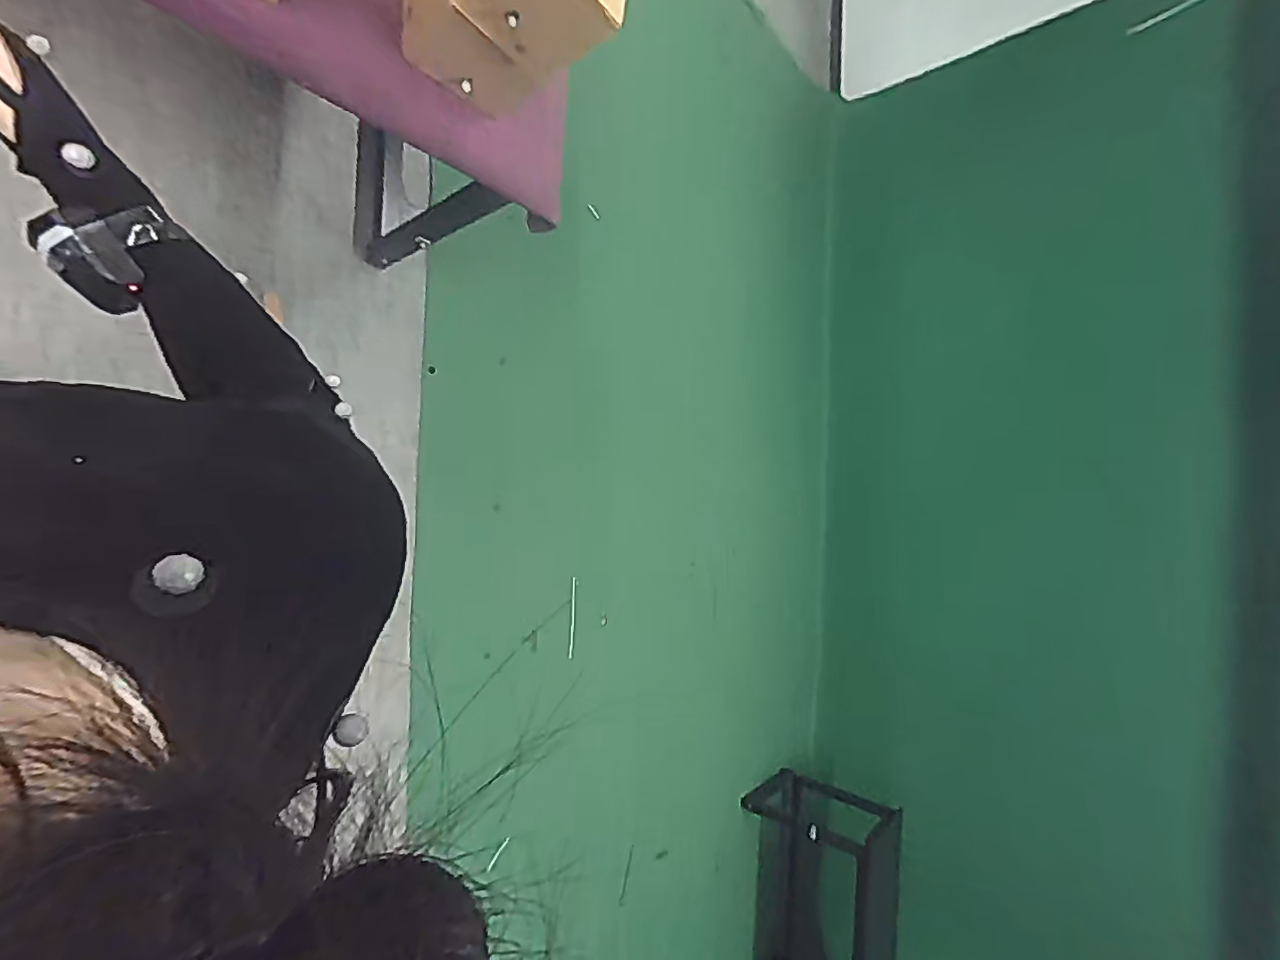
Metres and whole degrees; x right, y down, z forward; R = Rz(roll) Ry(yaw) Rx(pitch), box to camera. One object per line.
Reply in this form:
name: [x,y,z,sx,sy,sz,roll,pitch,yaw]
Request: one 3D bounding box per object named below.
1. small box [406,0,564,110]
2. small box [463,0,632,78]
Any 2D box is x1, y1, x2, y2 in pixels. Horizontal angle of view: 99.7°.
small box: [-0.233,-0.715,0.831,0.179,0.176,0.168,4,86,-48]
small box: [-0.119,-0.696,0.713,0.168,0.176,0.179,16,79,-48]
